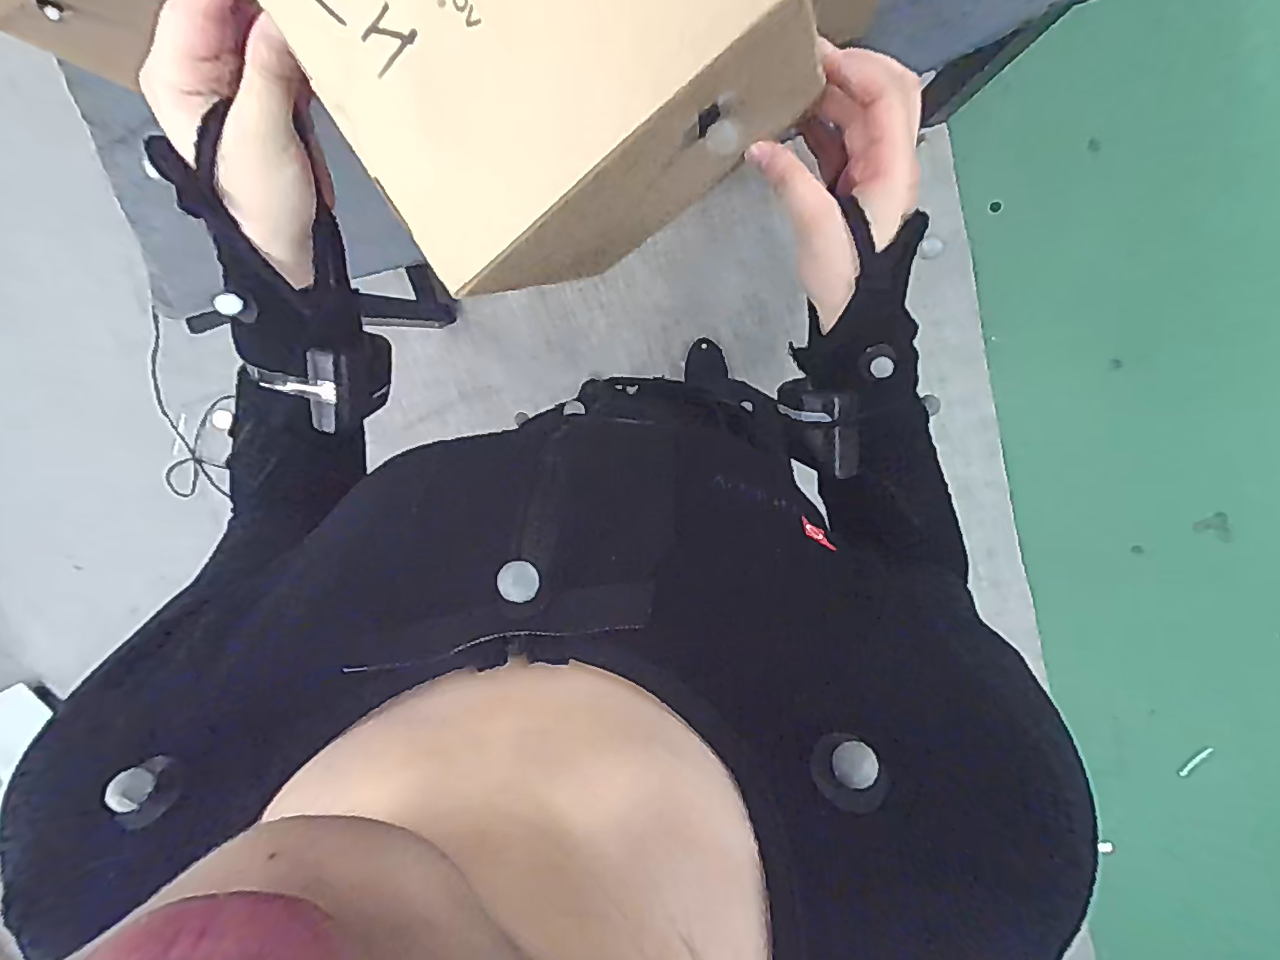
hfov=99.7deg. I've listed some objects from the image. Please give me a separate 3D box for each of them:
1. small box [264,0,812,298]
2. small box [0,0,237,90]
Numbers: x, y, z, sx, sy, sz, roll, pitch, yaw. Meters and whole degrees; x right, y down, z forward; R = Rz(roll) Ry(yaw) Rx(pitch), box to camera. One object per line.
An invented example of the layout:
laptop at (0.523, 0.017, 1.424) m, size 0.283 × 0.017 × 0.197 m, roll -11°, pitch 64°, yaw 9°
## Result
small box at (-0.030, -0.214, 0.259) m, size 0.179 × 0.176 × 0.168 m, roll -24°, pitch 103°, yaw 30°
small box at (-0.597, -0.573, 0.579) m, size 0.168 × 0.176 × 0.179 m, roll -19°, pitch 102°, yaw 10°
